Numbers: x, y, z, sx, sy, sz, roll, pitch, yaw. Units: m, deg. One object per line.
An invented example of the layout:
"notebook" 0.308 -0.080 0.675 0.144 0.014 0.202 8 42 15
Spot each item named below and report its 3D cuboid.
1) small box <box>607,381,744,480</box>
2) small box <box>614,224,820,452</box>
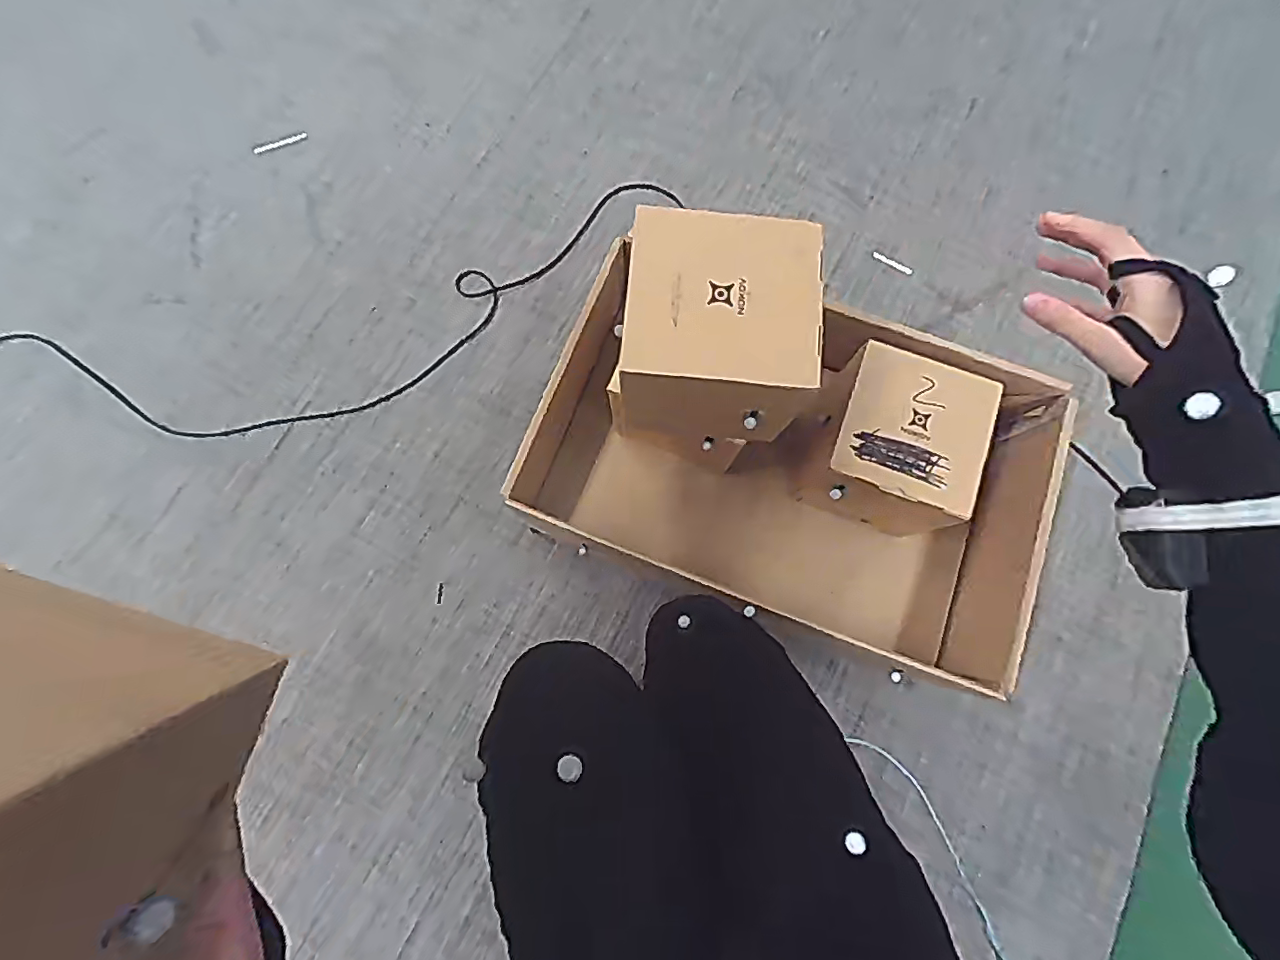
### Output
"small box" 0.068 -0.113 0.723 0.179 0.176 0.168 22 78 3
"small box" 0.071 -0.131 0.560 0.179 0.176 0.168 5 78 1
